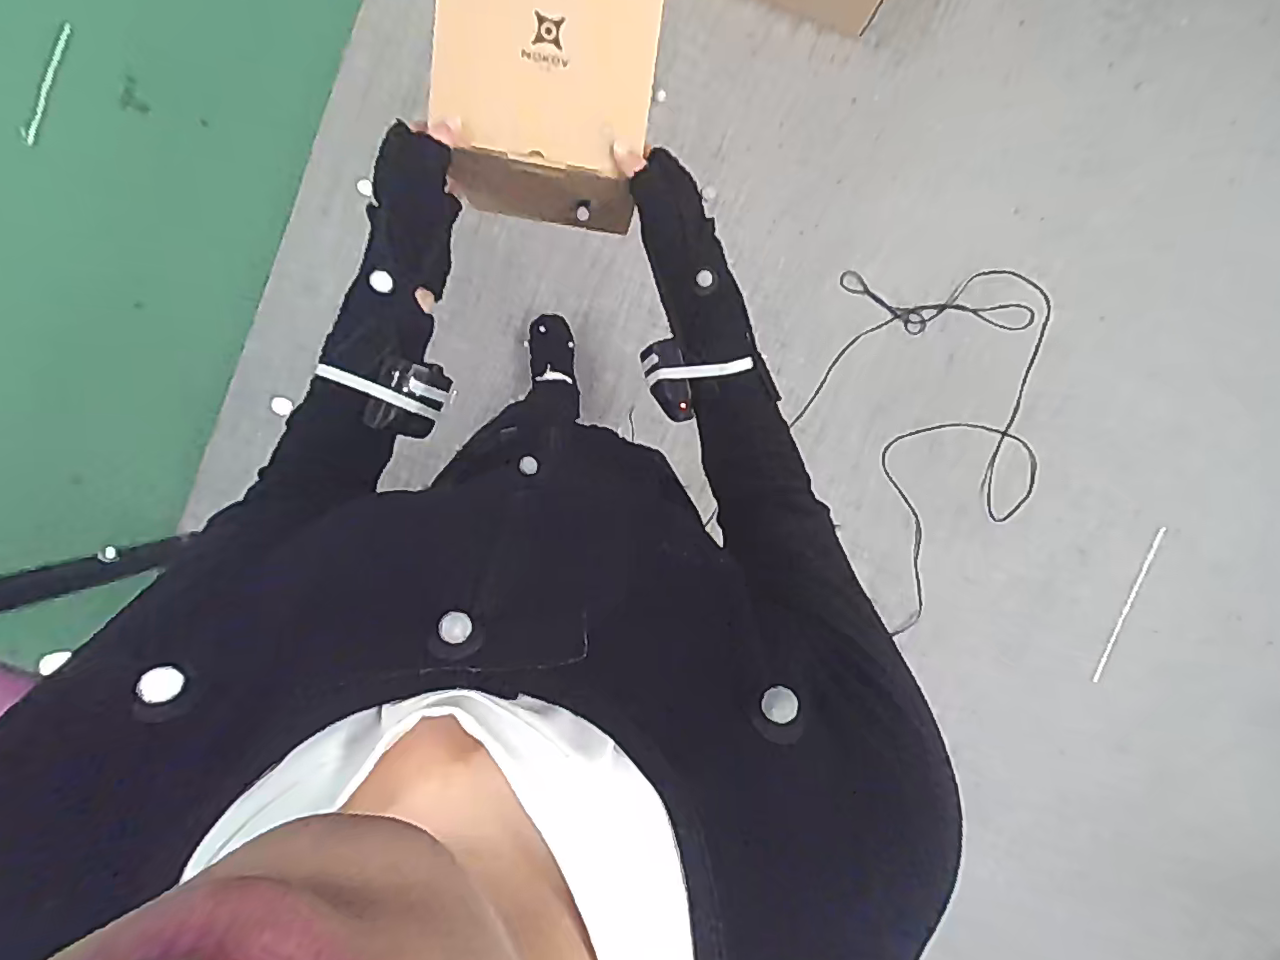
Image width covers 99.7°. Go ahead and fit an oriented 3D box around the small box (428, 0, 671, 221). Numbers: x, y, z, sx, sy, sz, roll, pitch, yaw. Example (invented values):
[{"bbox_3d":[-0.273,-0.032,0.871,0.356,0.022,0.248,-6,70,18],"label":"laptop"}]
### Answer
[{"bbox_3d":[-0.068,-0.344,0.464,0.168,0.176,0.179,8,99,-7],"label":"small box"}]
